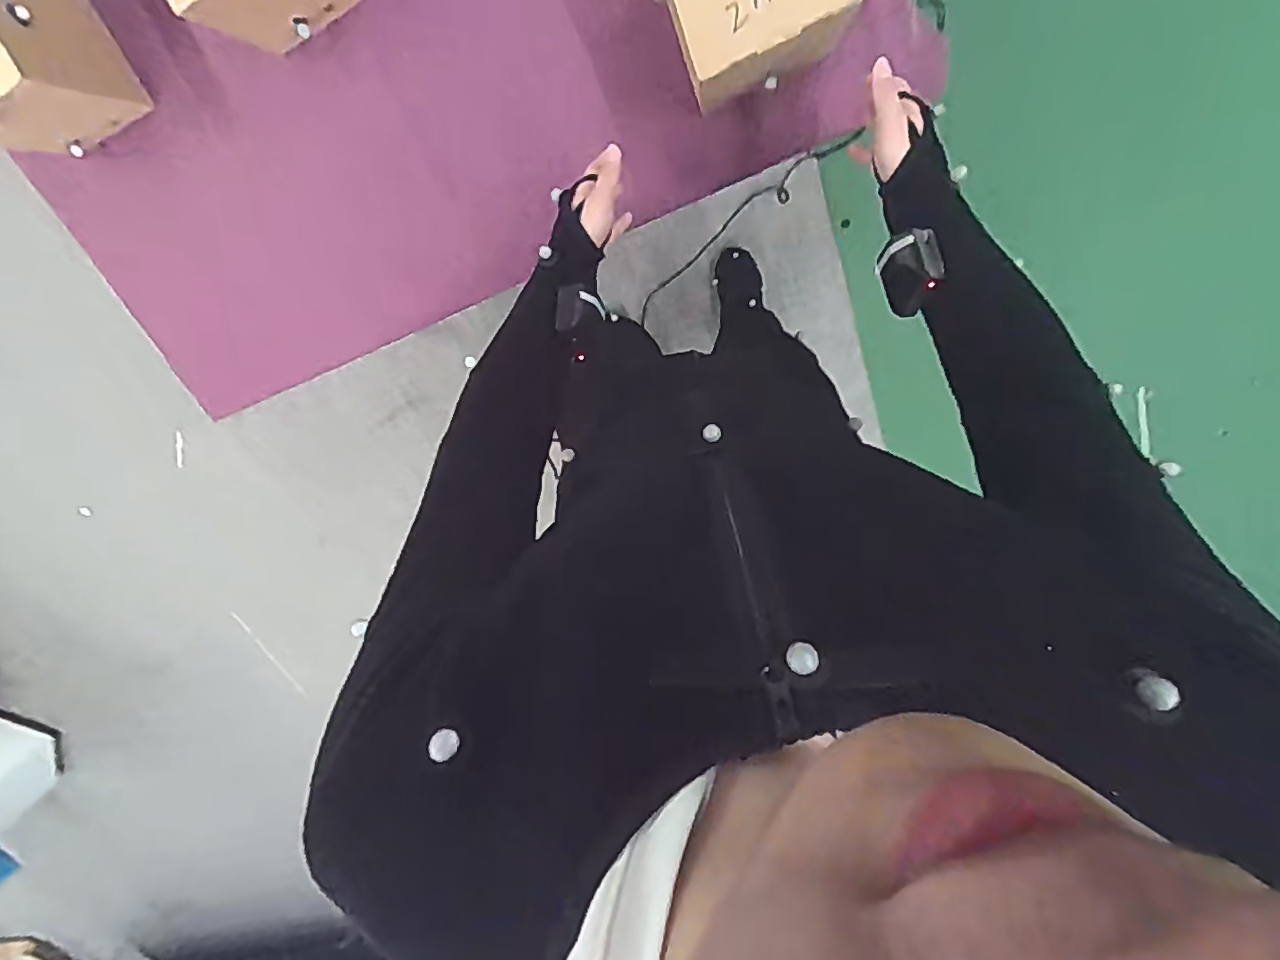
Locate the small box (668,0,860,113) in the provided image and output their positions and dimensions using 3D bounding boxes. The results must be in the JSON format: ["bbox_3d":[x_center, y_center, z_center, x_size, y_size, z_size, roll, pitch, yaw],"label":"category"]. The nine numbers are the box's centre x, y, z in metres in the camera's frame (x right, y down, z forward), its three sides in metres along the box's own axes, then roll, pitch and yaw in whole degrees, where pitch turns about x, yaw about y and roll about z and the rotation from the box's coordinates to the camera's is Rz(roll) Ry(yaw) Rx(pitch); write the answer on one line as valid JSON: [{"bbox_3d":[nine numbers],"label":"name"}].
[{"bbox_3d":[0.114,-0.532,0.574,0.168,0.176,0.179,-17,111,16],"label":"small box"}]

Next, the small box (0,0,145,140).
[{"bbox_3d":[-0.793,-0.549,0.673,0.168,0.176,0.179,-17,112,13],"label":"small box"}]

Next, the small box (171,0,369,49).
[{"bbox_3d":[-0.443,-0.633,0.599,0.168,0.176,0.179,-18,112,15],"label":"small box"}]

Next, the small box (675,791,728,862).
[{"bbox_3d":[0.250,1.396,2.184,0.168,0.176,0.179,-19,109,14],"label":"small box"}]
